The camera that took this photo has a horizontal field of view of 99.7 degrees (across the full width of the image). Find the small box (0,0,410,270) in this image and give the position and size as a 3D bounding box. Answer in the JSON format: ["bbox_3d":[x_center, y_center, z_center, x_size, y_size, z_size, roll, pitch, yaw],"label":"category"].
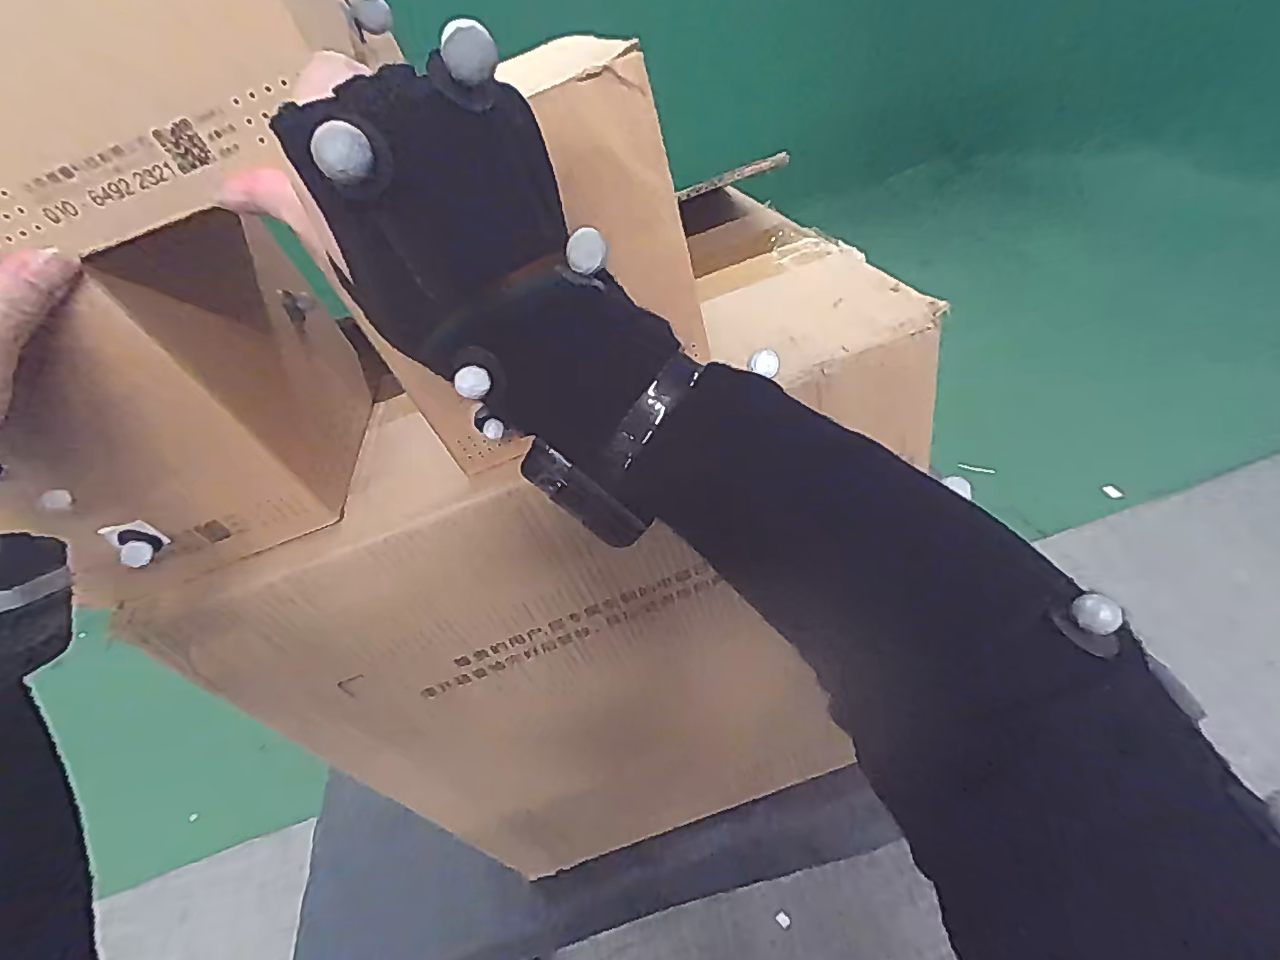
[{"bbox_3d":[-0.221,-0.214,0.228,0.168,0.176,0.179,-20,41,2],"label":"small box"}]

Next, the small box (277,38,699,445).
[{"bbox_3d":[-0.076,-0.142,0.339,0.168,0.176,0.179,-22,42,-2],"label":"small box"}]
